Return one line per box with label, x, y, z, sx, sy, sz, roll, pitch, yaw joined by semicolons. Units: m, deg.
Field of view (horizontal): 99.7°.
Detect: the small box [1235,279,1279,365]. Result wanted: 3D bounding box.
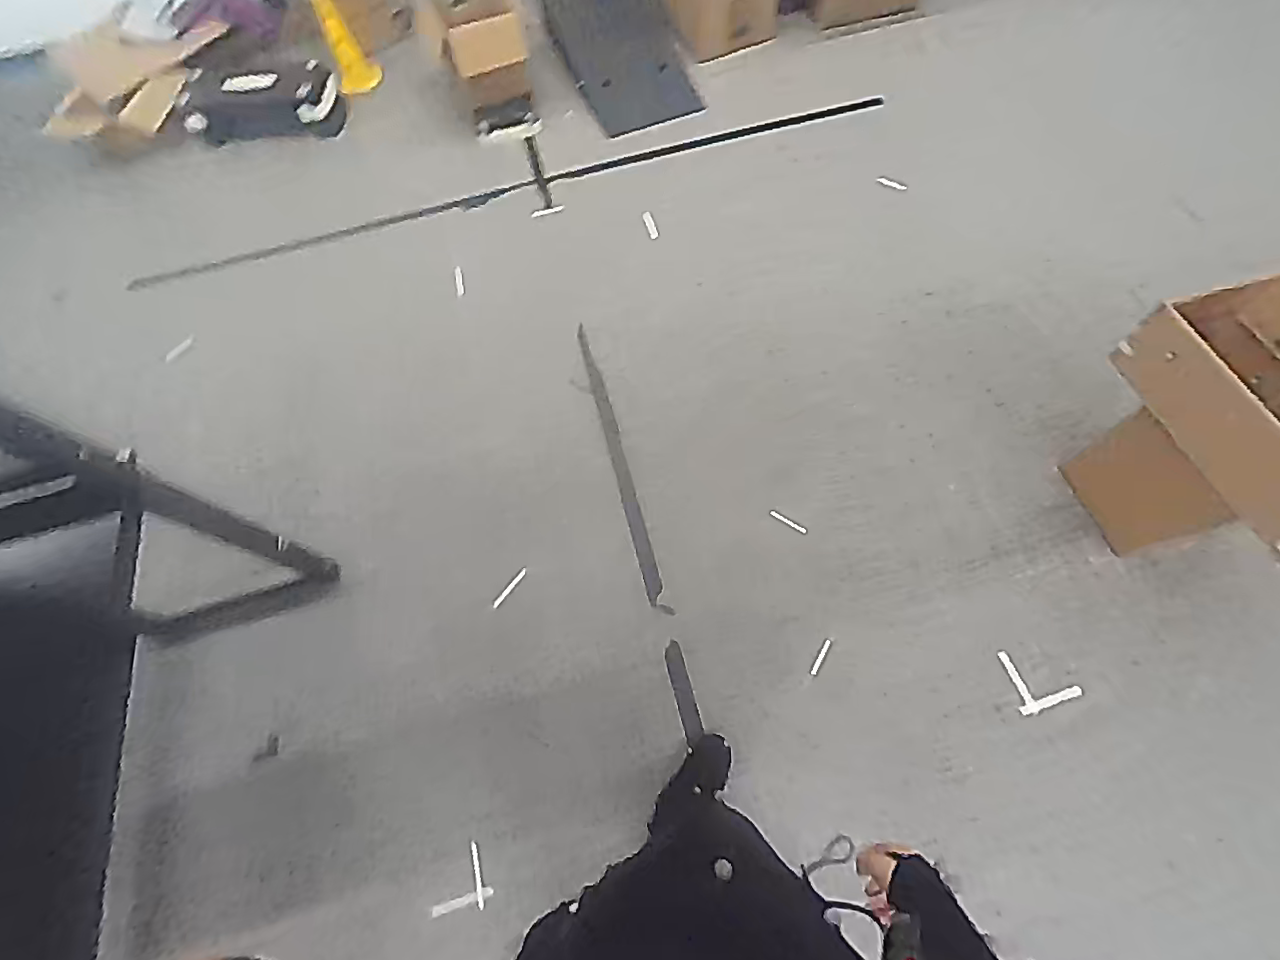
small box;1.391;-0.353;1.085;0.179;0.176;0.168;-15;65;-5
